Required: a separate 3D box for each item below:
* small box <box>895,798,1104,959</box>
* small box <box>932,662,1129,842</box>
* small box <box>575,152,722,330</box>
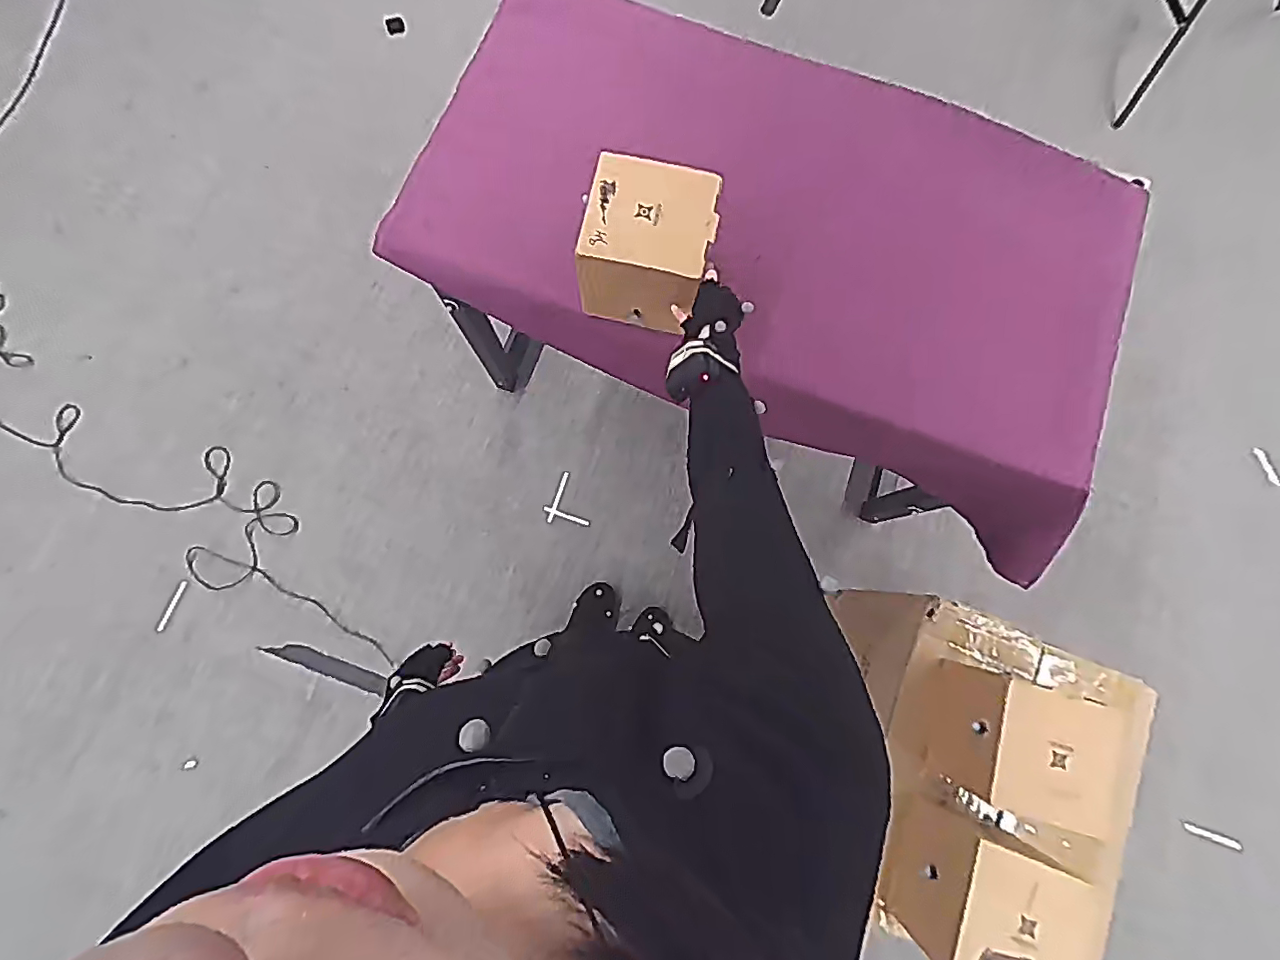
[{"bbox_3d":[0.488,0.591,0.761,0.168,0.176,0.179,22,77,3],"label":"small box"},{"bbox_3d":[0.567,0.387,0.806,0.168,0.176,0.179,16,81,3],"label":"small box"},{"bbox_3d":[0.011,-0.347,0.816,0.179,0.176,0.168,12,79,1],"label":"small box"}]
